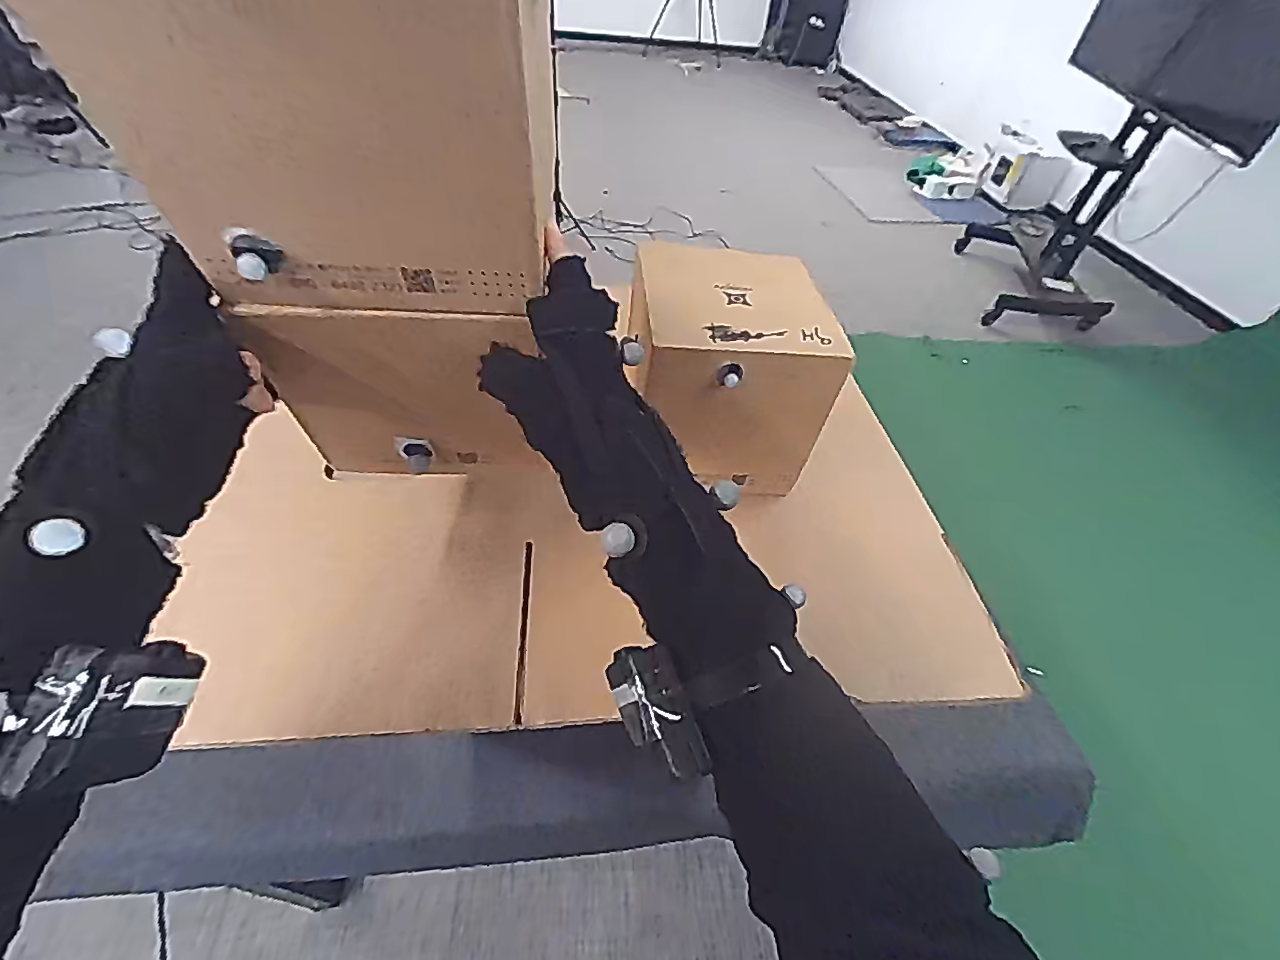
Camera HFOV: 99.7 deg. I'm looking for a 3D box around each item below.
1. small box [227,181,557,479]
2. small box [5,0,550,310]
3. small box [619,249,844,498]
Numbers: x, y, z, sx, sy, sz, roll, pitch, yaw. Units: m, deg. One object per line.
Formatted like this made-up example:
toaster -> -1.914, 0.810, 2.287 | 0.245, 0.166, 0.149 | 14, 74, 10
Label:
small box -> -0.150, -0.117, 0.403 | 0.168, 0.176, 0.179 | -1, 61, -6
small box -> -0.133, -0.204, 0.263 | 0.168, 0.176, 0.179 | 1, 58, -6
small box -> 0.069, -0.104, 0.539 | 0.168, 0.176, 0.179 | 2, 47, -7
